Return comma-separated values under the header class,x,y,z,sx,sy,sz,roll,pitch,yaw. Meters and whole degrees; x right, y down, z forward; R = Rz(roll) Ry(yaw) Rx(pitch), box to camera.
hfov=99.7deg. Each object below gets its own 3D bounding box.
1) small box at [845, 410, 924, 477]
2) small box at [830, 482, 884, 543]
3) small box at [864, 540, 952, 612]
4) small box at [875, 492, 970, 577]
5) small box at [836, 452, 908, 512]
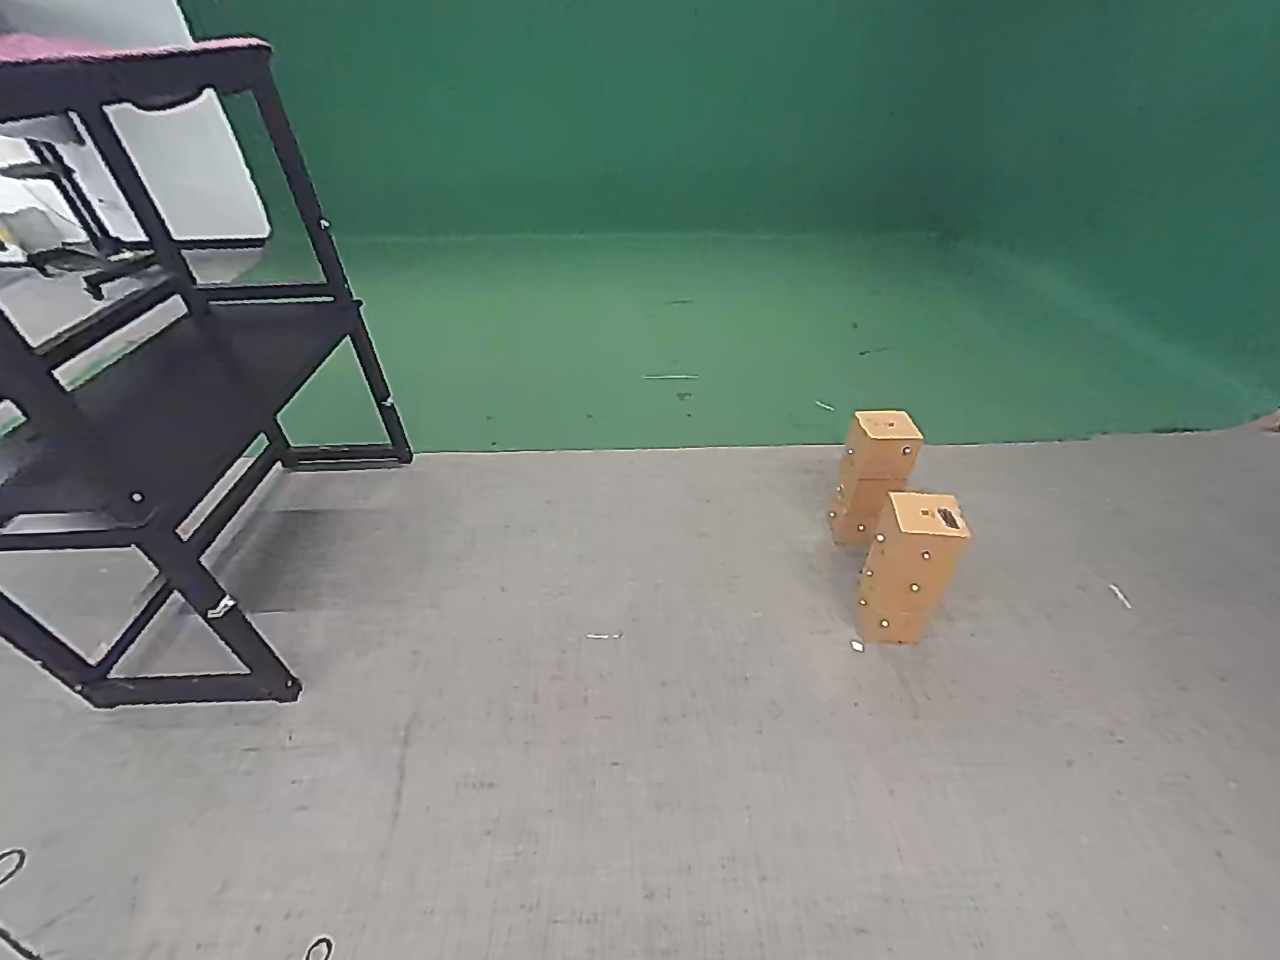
class,x,y,z,sx,sy,sz,roll,pitch,yaw
small box,0.816,-0.120,1.822,0.179,0.176,0.168,0,39,1
small box,0.826,0.124,2.040,0.179,0.176,0.168,1,41,4
small box,0.792,0.278,1.617,0.179,0.176,0.168,3,41,6
small box,0.780,0.154,1.509,0.179,0.176,0.168,4,41,8
small box,0.822,0.003,1.931,0.179,0.176,0.168,-1,40,1
